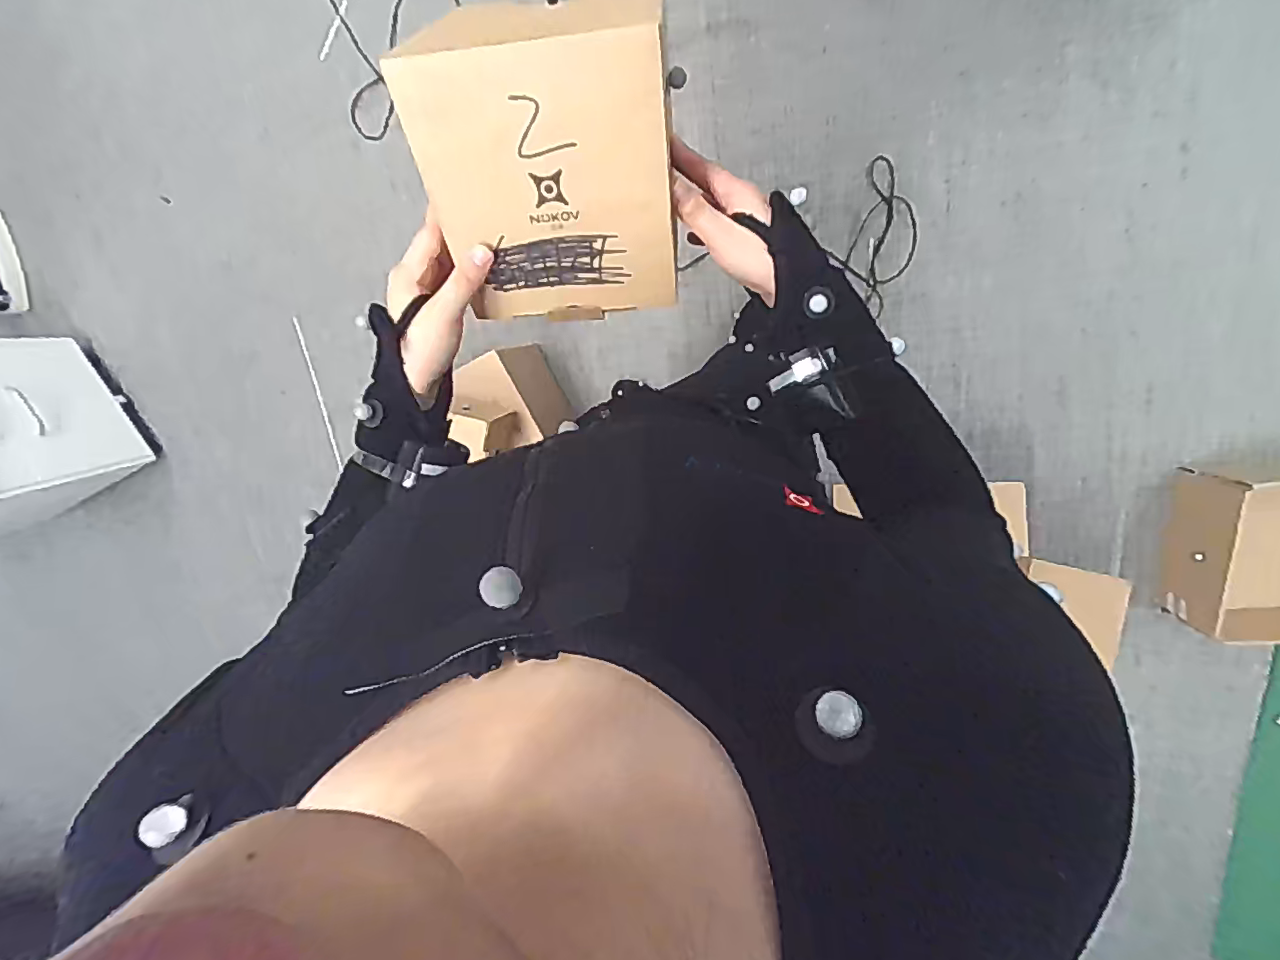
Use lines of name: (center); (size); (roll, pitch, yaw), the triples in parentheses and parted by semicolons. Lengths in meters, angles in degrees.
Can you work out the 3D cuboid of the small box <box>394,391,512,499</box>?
small box: (-0.382, -0.080, 1.128); (0.179, 0.176, 0.168); (14, 107, 0)
